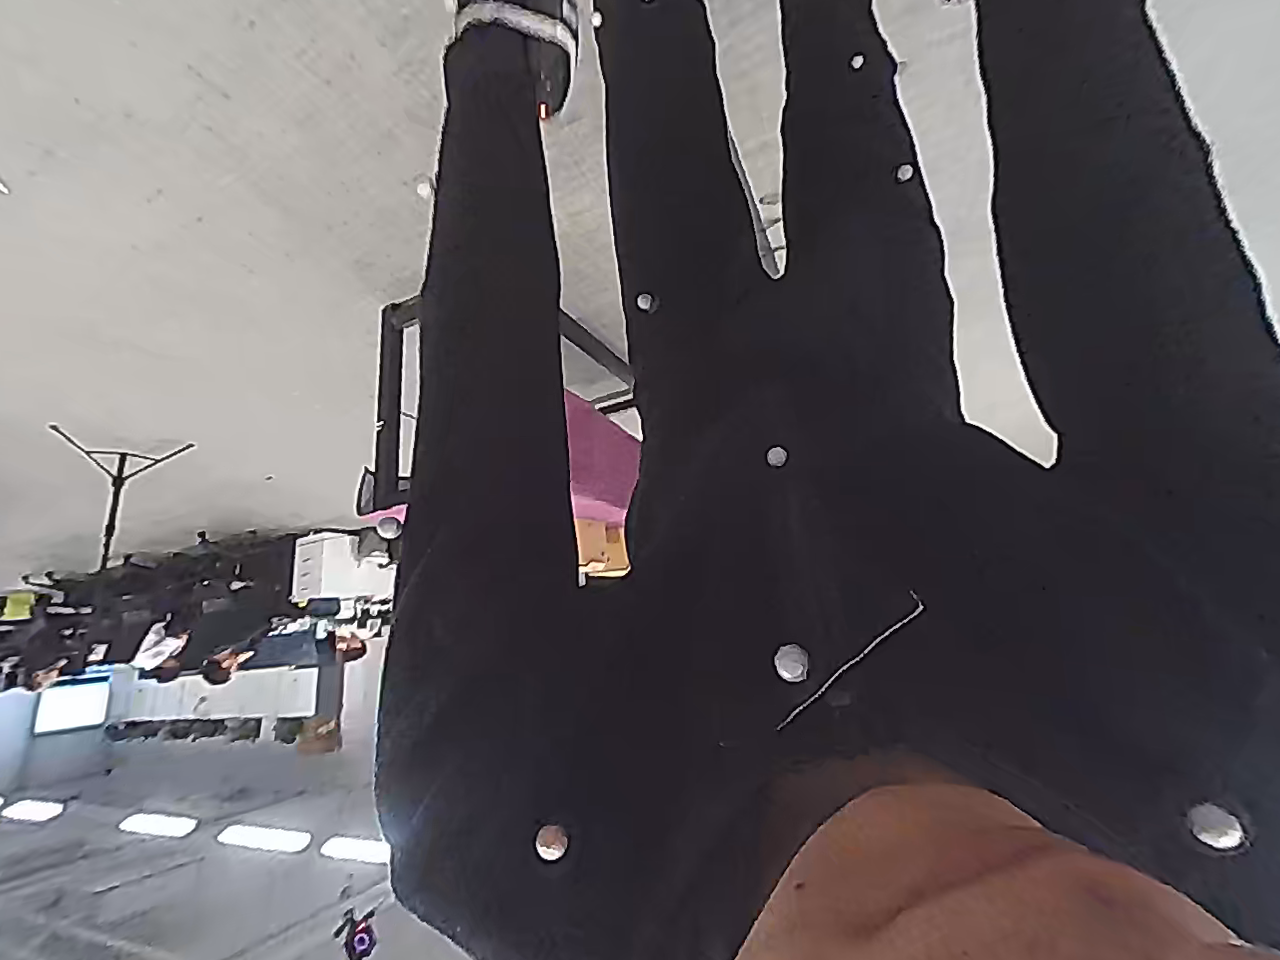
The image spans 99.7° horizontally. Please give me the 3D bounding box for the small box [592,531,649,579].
[{"bbox_3d":[-0.084,0.310,2.223,0.179,0.176,0.168,-15,161,33],"label":"small box"}]
